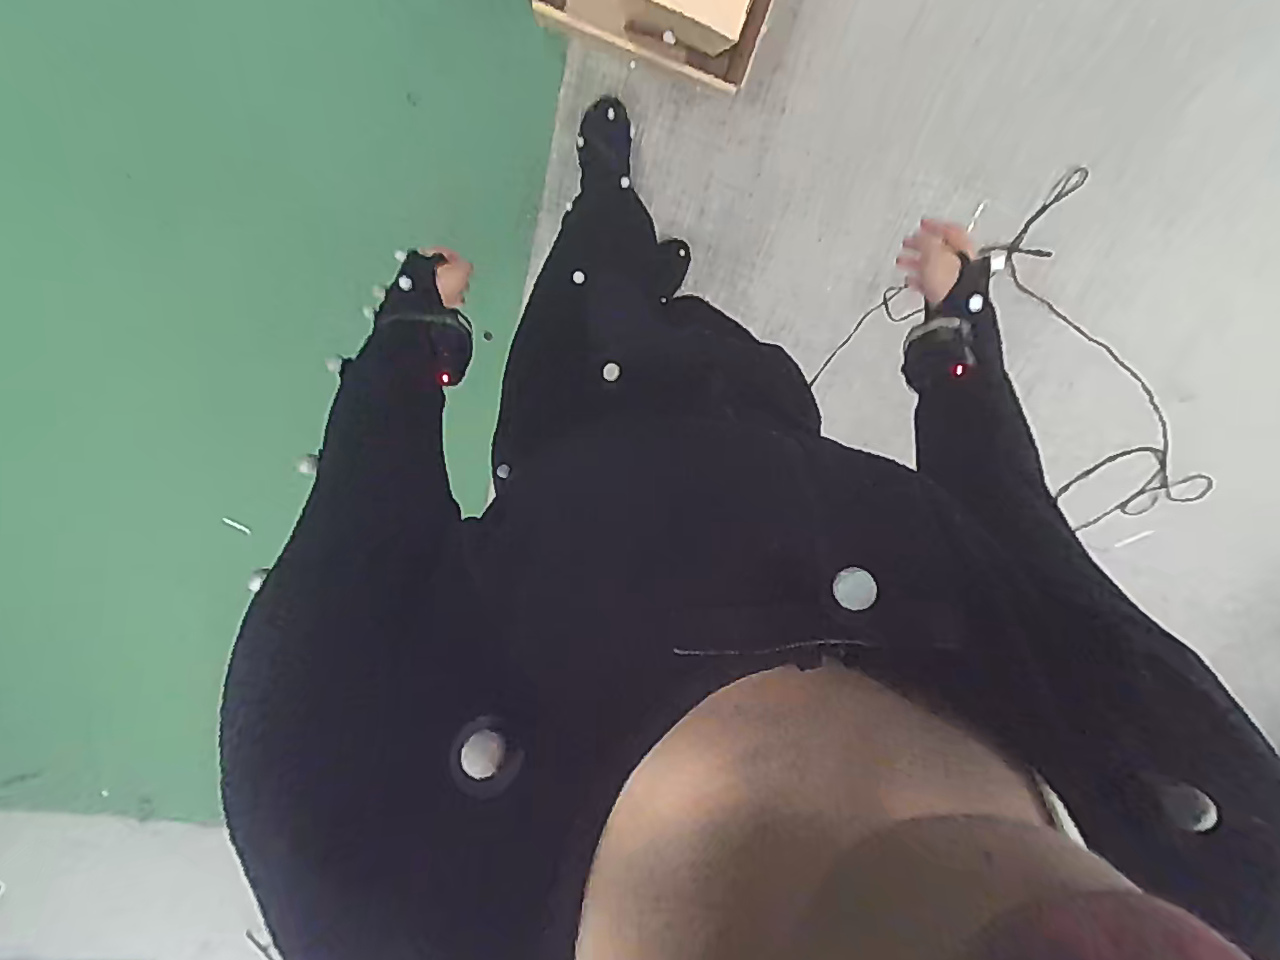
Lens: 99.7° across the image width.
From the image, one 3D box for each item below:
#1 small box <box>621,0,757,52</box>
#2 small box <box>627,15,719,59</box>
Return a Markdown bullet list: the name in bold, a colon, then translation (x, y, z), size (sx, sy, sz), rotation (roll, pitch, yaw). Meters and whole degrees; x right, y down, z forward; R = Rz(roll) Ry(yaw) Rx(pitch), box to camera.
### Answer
- **small box**: translation (0.082, -0.753, 0.783), size (0.179, 0.176, 0.168), rotation (14, 120, -15)
- **small box**: translation (0.082, -0.846, 0.919), size (0.179, 0.176, 0.168), rotation (9, 121, -13)
